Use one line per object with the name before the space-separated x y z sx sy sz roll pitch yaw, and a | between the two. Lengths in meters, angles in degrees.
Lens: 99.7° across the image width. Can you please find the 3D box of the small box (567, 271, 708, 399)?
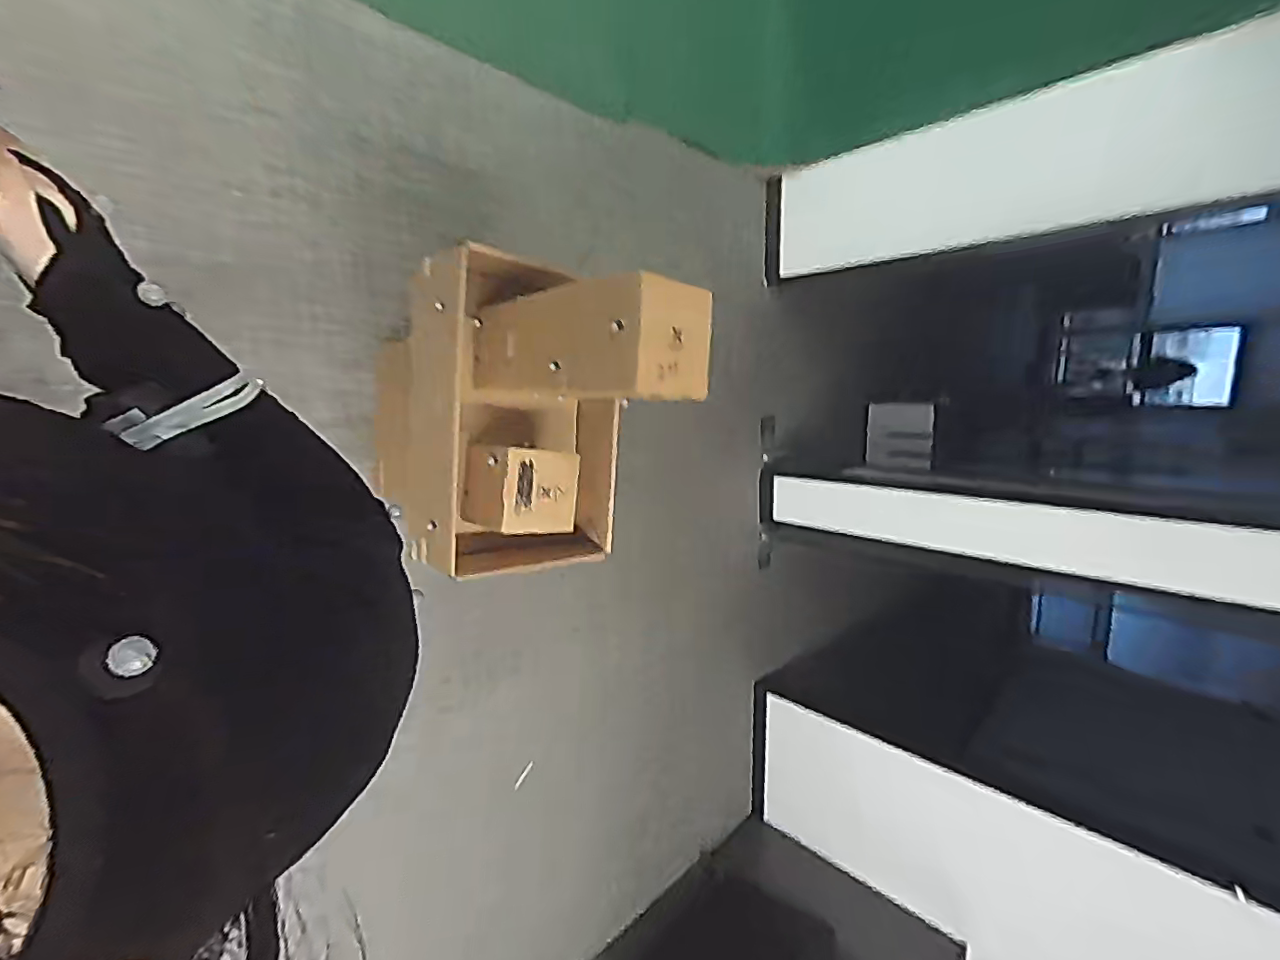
small box | -0.007 -0.228 0.896 0.168 0.176 0.179 -4 100 -44

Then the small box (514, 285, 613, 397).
small box | -0.122 -0.250 1.012 0.168 0.176 0.179 -3 100 -45
